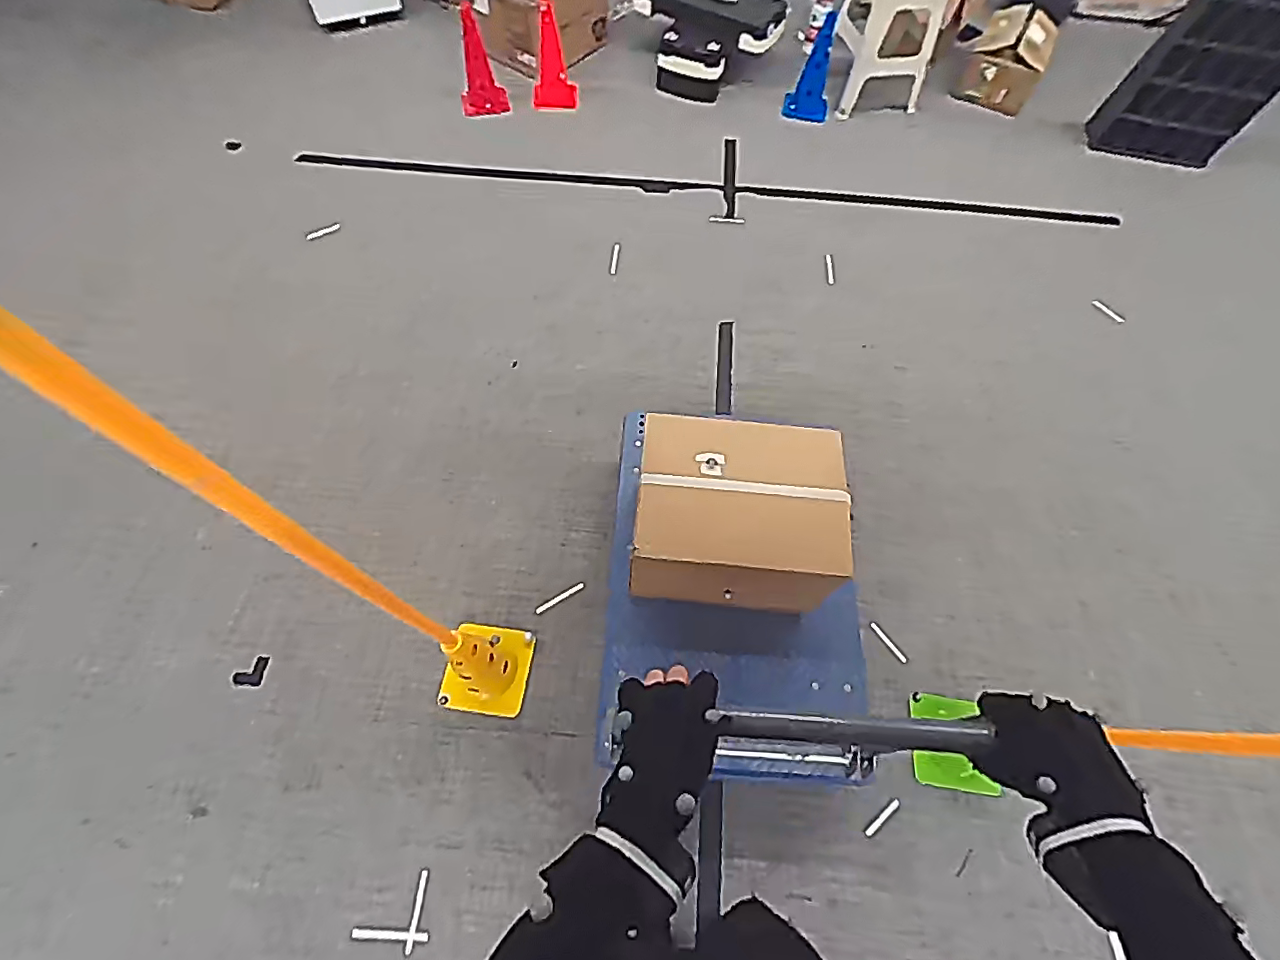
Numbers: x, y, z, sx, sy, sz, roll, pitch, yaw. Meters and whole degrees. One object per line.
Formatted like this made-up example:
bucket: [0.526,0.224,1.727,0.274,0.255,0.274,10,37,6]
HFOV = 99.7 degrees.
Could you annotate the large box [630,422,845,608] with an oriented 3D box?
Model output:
large box: [0.191,0.092,1.195,0.408,0.320,0.320,5,64,1]

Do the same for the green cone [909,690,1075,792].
green cone: [0.760,0.544,1.143,0.202,0.368,0.200,9,63,1]
